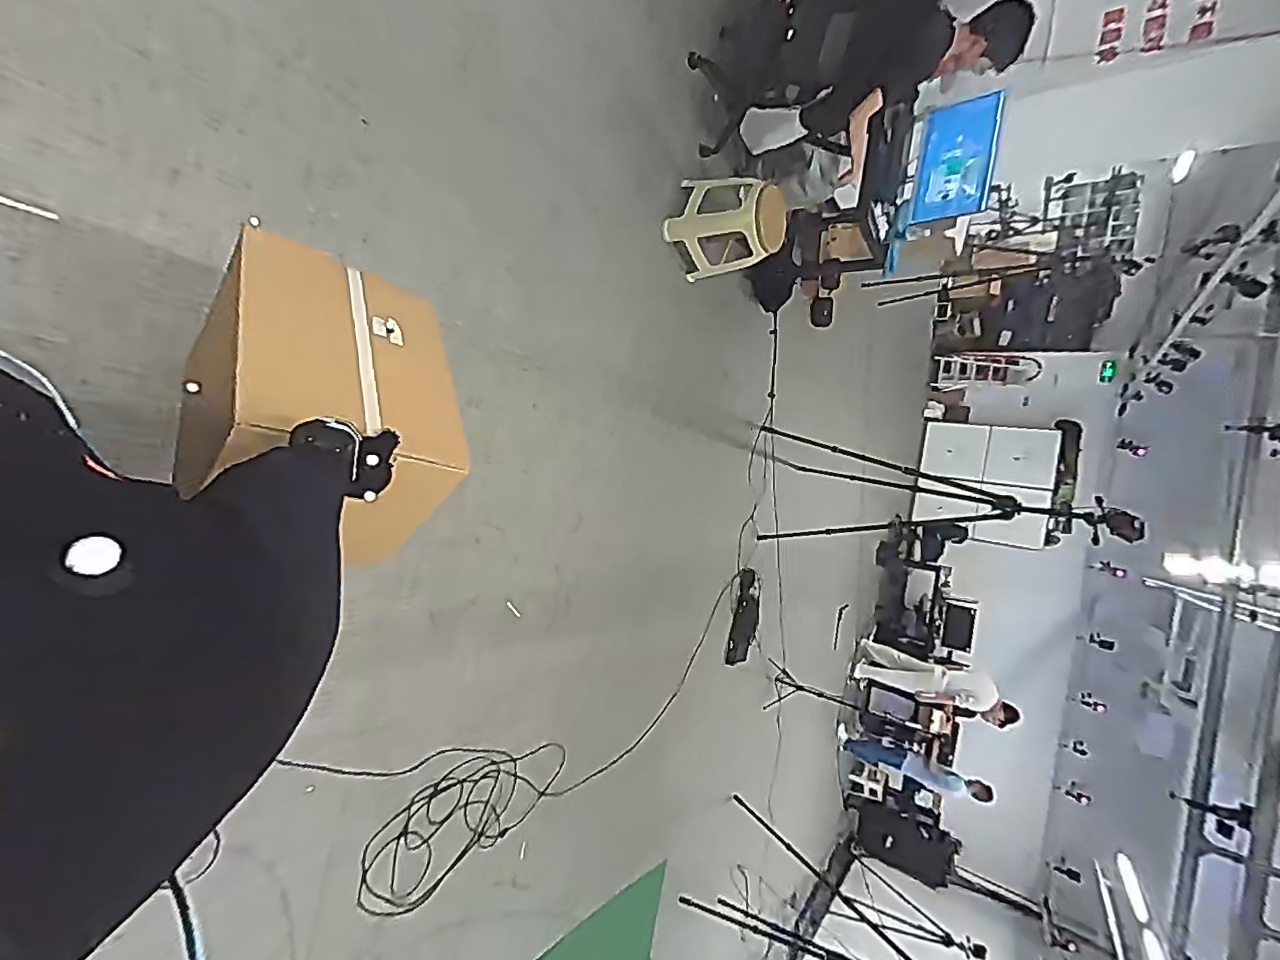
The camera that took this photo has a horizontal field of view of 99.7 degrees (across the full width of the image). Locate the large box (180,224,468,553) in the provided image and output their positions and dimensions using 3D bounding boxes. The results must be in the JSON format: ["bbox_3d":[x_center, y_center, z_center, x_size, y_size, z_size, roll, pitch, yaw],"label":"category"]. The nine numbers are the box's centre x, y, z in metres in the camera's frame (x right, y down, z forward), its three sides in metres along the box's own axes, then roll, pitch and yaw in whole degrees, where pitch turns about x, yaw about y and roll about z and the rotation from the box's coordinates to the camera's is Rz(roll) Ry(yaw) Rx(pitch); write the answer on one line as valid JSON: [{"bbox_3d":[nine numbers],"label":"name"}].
[{"bbox_3d":[-0.540,-0.125,0.918,0.320,0.320,0.408,16,44,-48],"label":"large box"}]
